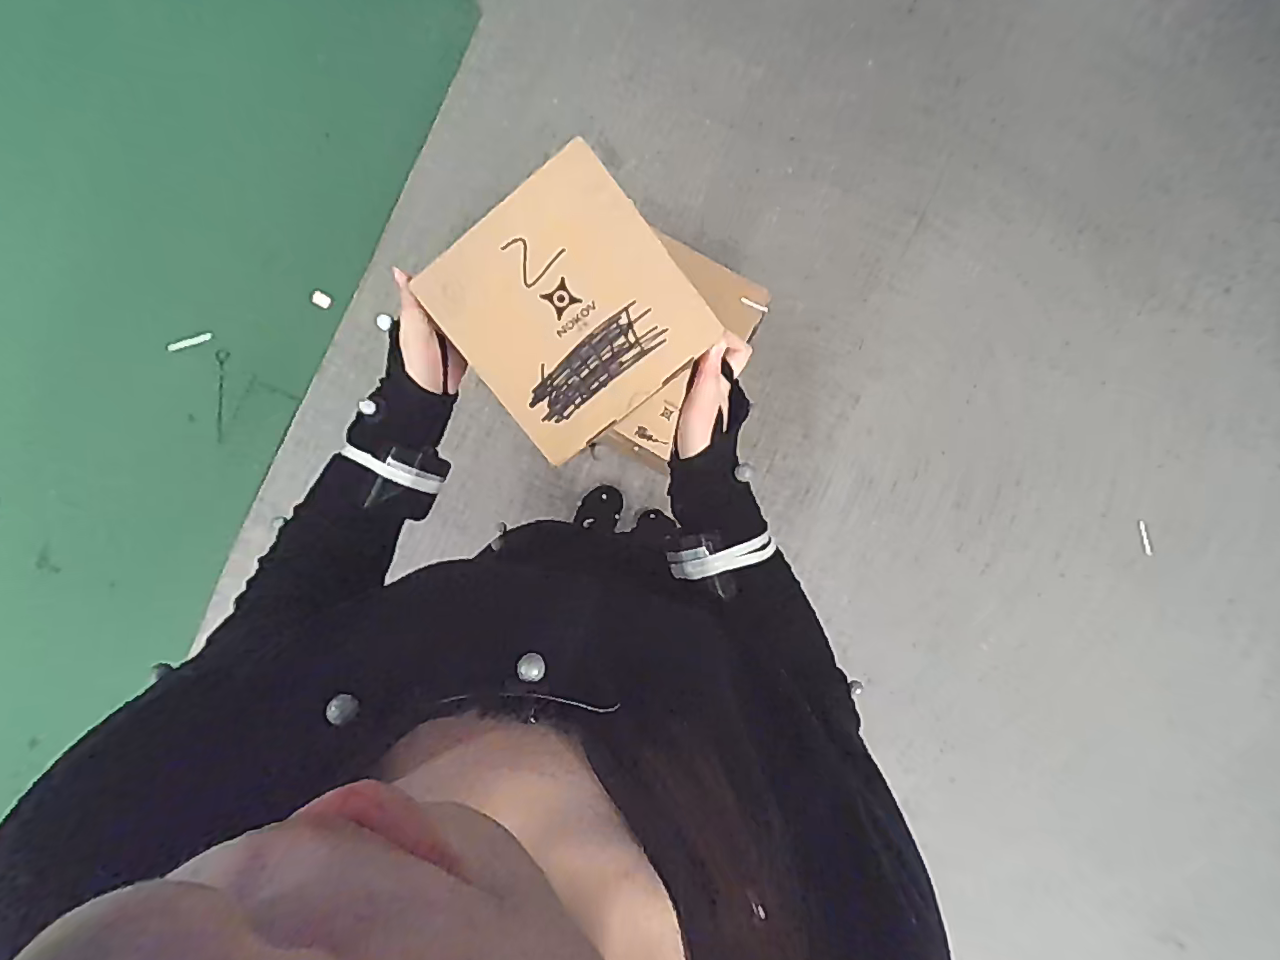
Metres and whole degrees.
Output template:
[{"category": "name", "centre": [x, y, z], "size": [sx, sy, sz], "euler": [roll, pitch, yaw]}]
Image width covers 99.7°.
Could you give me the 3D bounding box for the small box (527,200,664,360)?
[{"category": "small box", "centre": [-0.074, -0.337, 0.946], "size": [0.168, 0.176, 0.179], "euler": [29, 91, -1]}]

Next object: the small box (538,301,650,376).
[{"category": "small box", "centre": [-0.084, -0.335, 1.109], "size": [0.168, 0.176, 0.179], "euler": [29, 88, -1]}]

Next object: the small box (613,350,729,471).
[{"category": "small box", "centre": [0.055, -0.133, 1.108], "size": [0.168, 0.176, 0.179], "euler": [31, 88, -1]}]
